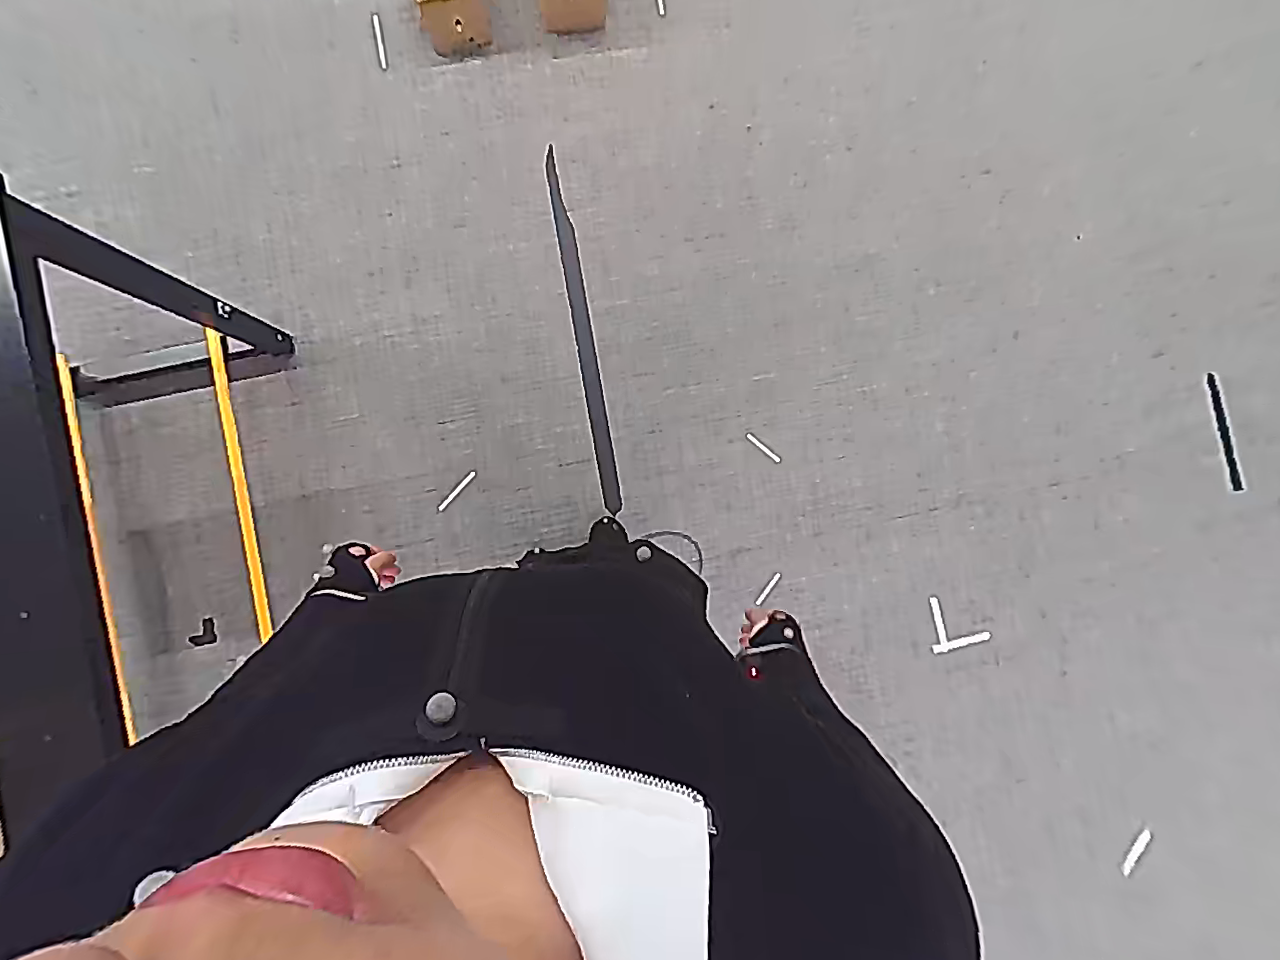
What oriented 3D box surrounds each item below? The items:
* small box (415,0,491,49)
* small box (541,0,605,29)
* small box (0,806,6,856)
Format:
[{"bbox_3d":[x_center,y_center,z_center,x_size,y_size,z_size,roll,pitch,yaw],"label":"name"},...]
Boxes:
[{"bbox_3d":[-0.509,-1.293,1.434,0.168,0.176,0.179,-17,90,-3],"label":"small box"},{"bbox_3d":[-0.188,-1.364,1.458,0.179,0.176,0.168,-8,89,-5],"label":"small box"},{"bbox_3d":[-0.925,0.435,0.628,0.179,0.176,0.168,-10,89,-4],"label":"small box"}]
